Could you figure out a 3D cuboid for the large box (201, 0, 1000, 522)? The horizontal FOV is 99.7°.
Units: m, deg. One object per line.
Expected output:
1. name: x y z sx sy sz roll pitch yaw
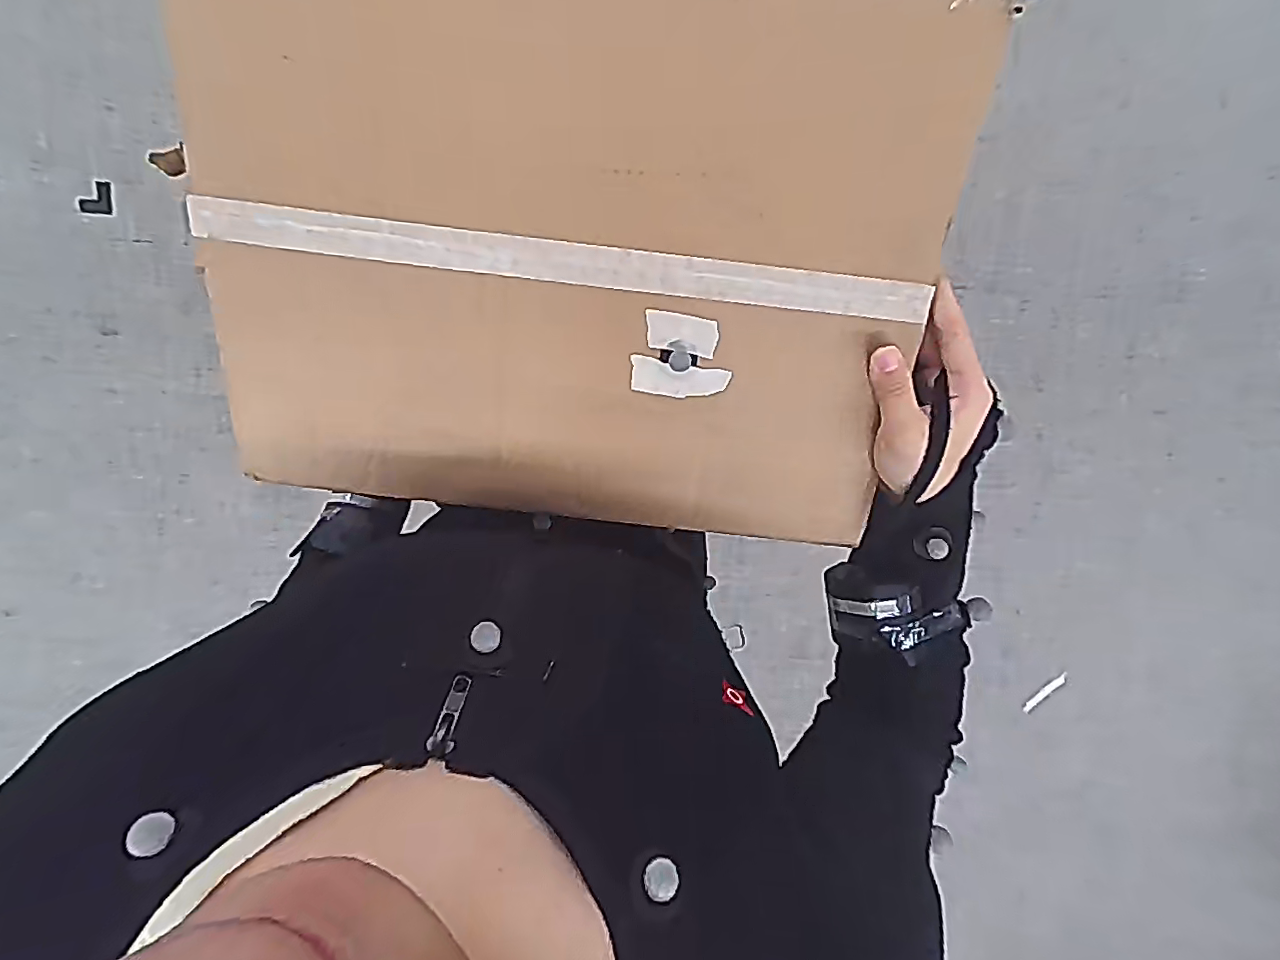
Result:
1. large box: -0.033 -0.180 0.449 0.408 0.320 0.320 5 112 -3
